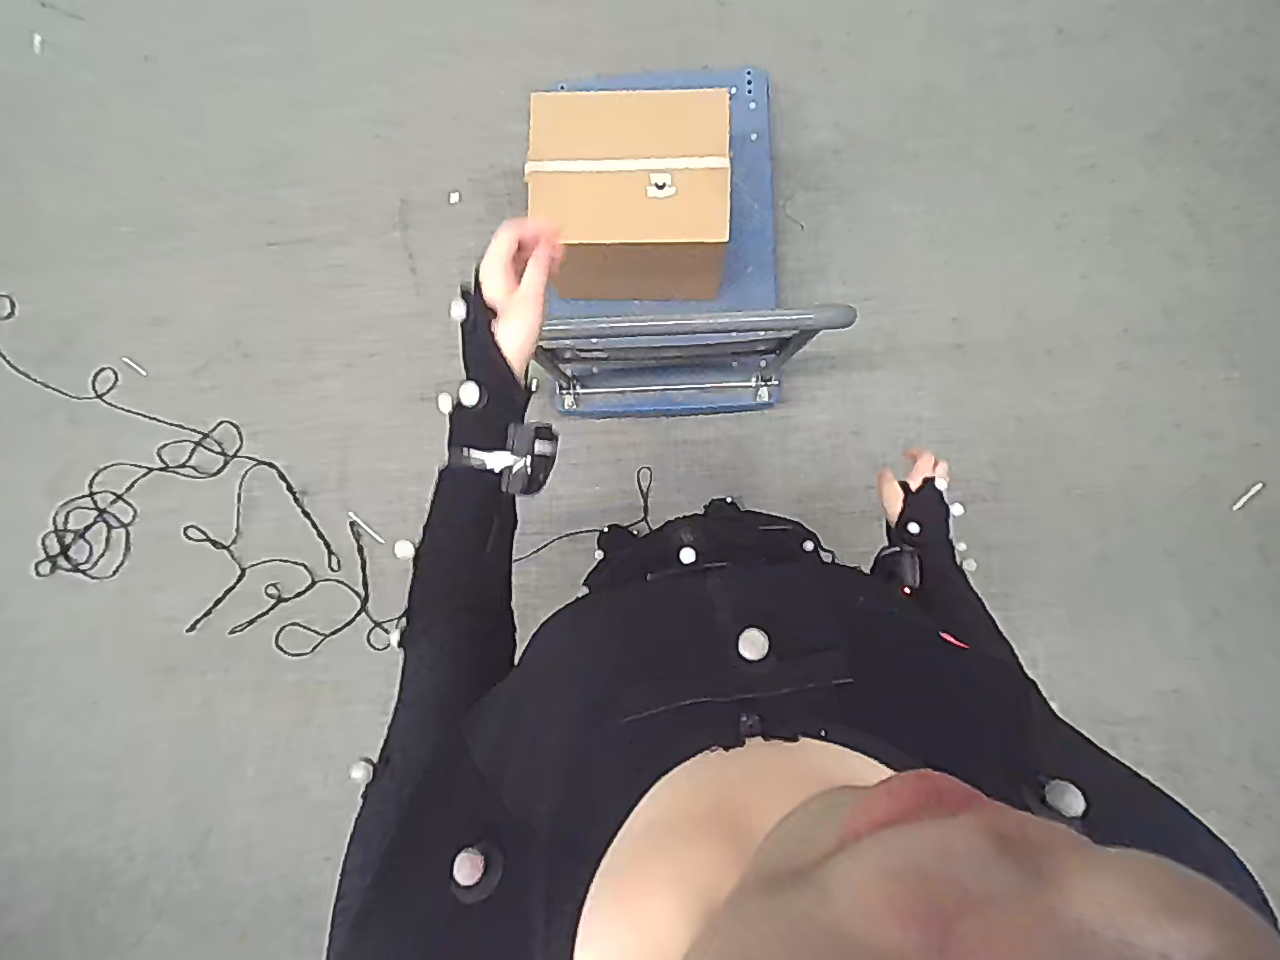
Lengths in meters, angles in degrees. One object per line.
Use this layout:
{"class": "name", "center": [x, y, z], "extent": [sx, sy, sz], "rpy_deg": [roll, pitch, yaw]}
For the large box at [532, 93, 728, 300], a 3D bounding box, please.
{"class": "large box", "center": [-0.018, -0.625, 1.246], "extent": [0.408, 0.320, 0.320], "rpy_deg": [0, 88, 2]}
